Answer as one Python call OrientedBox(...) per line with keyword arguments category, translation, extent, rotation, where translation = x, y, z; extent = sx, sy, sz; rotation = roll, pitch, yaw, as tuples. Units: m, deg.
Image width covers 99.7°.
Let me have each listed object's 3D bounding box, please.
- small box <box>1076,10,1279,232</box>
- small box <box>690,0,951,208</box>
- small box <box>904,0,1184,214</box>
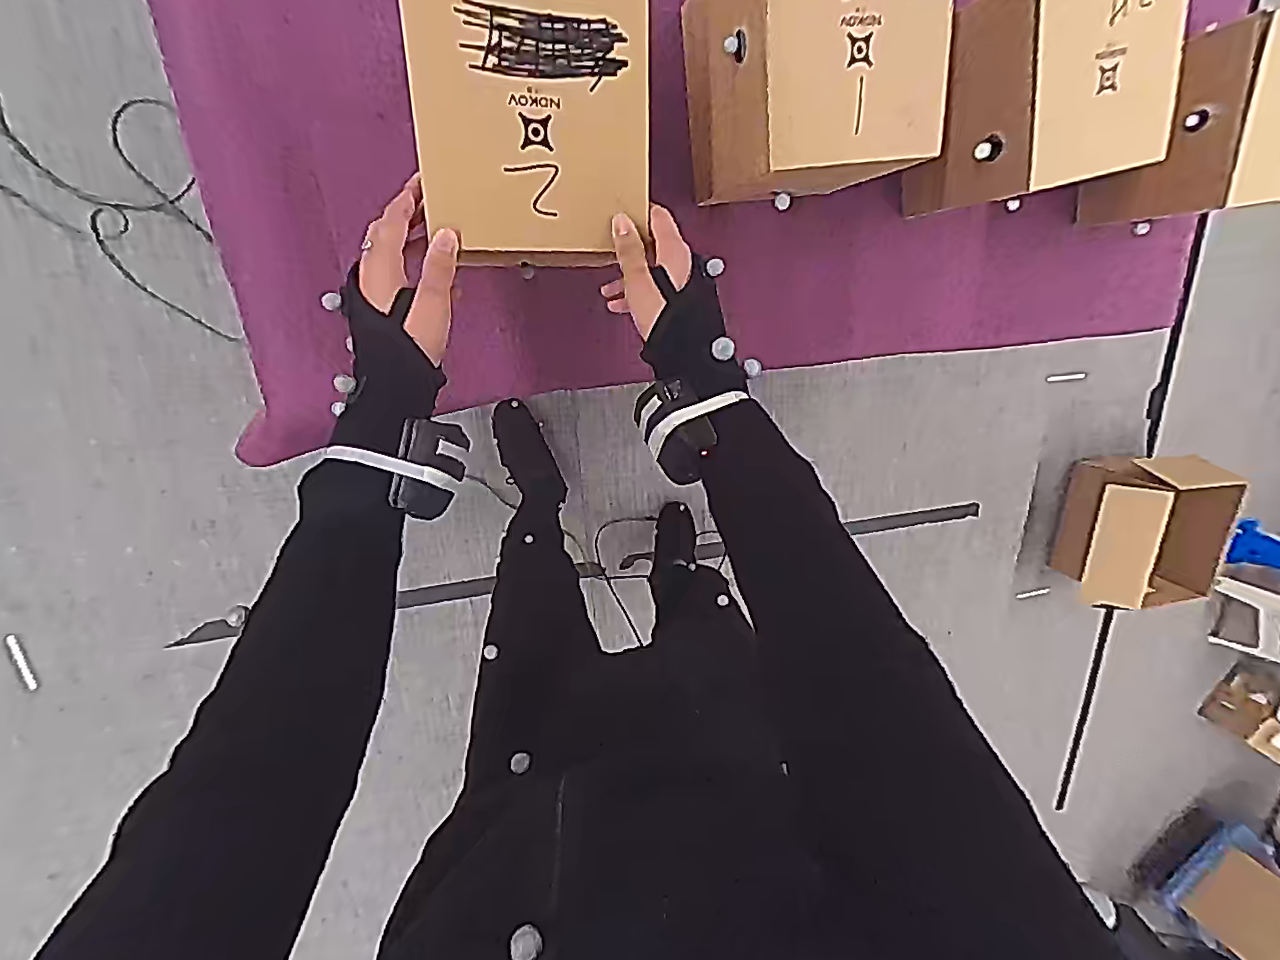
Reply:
OrientedBox(category="small box", translation=(0.660, -0.403, 0.633), extent=(0.168, 0.176, 0.179), rotation=(-11, 109, -11))
OrientedBox(category="small box", translation=(0.152, -0.367, 0.500), extent=(0.168, 0.176, 0.179), rotation=(-11, 110, -12))
OrientedBox(category="small box", translation=(0.398, -0.388, 0.562), extent=(0.168, 0.176, 0.179), rotation=(-17, 110, -11))
